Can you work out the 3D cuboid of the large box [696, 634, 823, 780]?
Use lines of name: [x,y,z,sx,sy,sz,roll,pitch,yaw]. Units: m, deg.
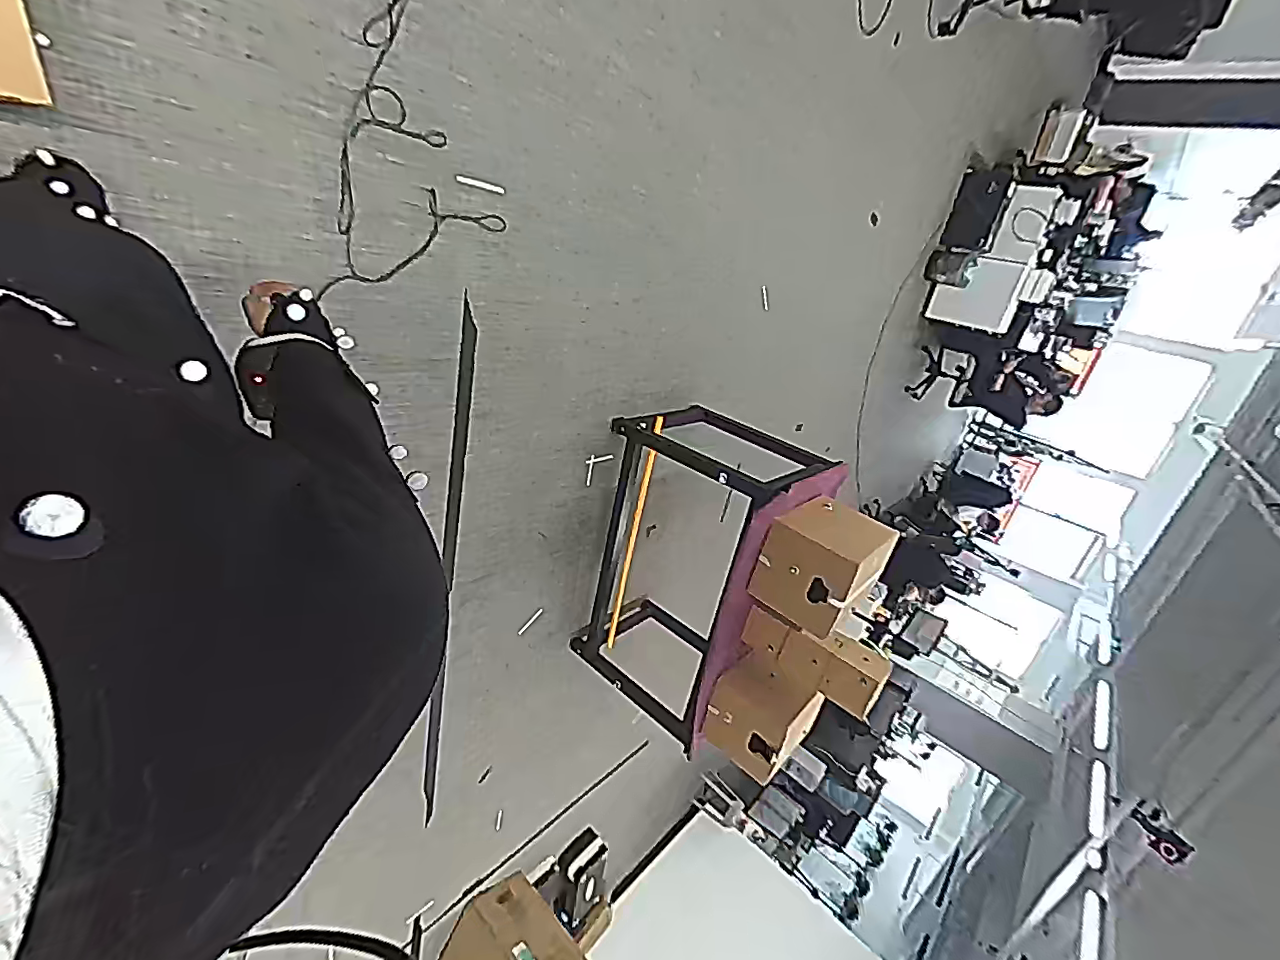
large box: [0.484,0.900,2.201,0.408,0.320,0.320,-17,128,-49]
